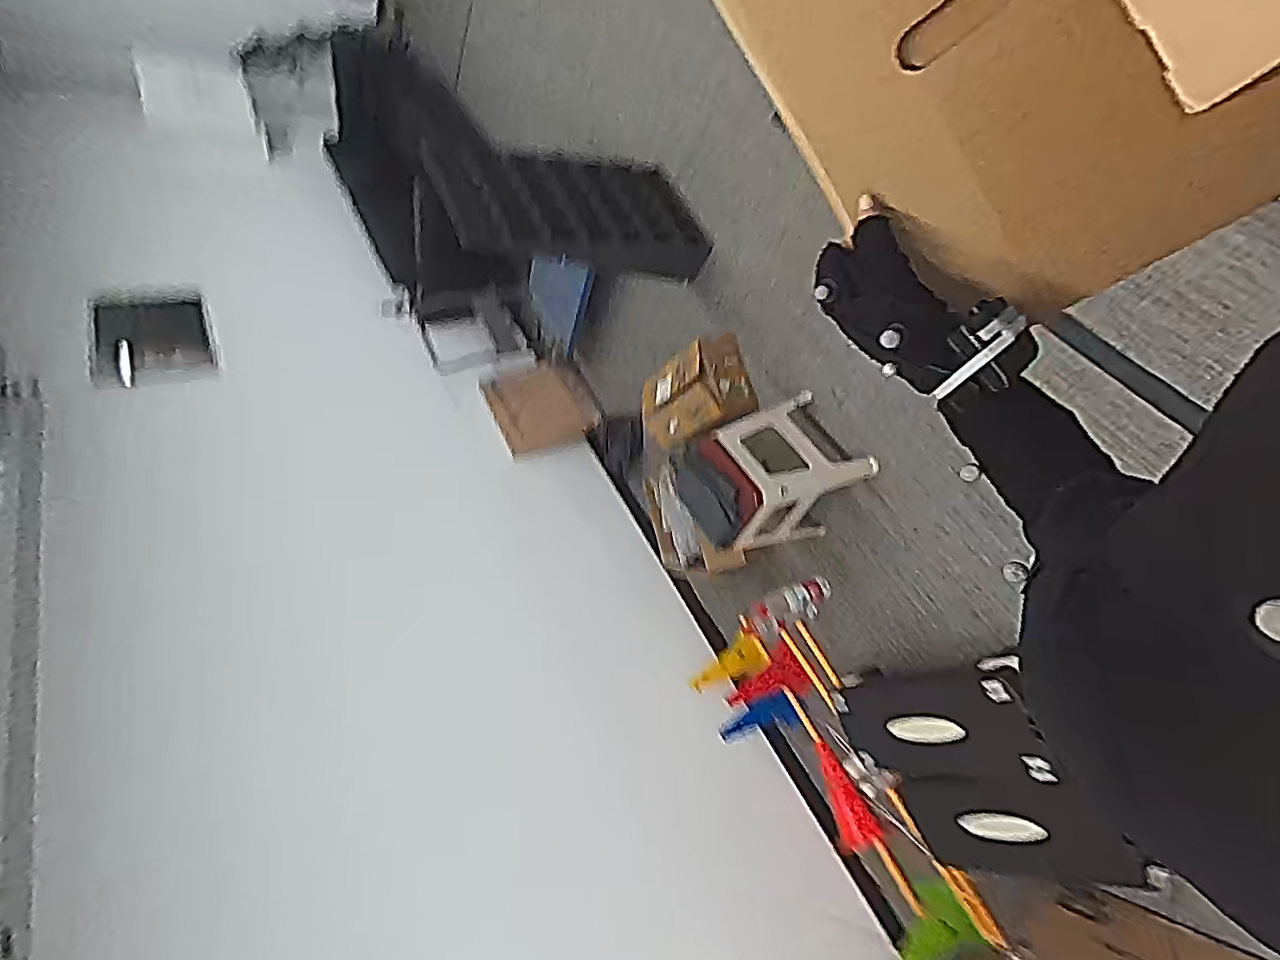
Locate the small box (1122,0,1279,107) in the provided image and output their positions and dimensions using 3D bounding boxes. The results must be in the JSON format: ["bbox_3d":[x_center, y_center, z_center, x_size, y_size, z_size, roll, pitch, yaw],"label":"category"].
[{"bbox_3d":[0.374,-0.340,0.266,0.168,0.176,0.179,62,161,-1],"label":"small box"}]
